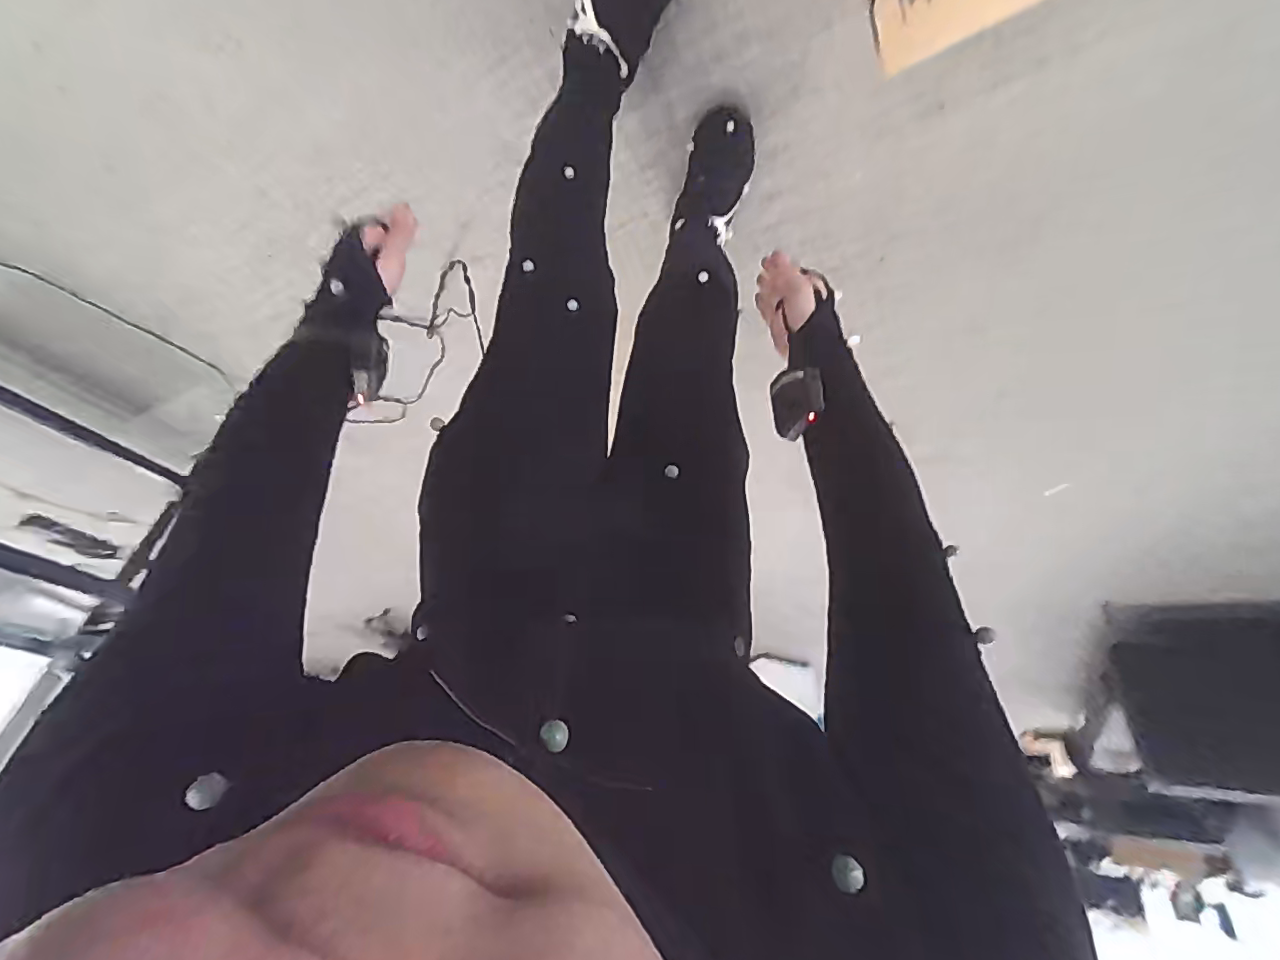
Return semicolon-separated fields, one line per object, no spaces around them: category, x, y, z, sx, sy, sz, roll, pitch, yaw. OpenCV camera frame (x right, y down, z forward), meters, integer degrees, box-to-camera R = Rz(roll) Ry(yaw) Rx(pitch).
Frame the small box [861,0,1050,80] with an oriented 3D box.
small box;0.323;-0.583;0.571;0.179;0.176;0.168;-13;141;28
